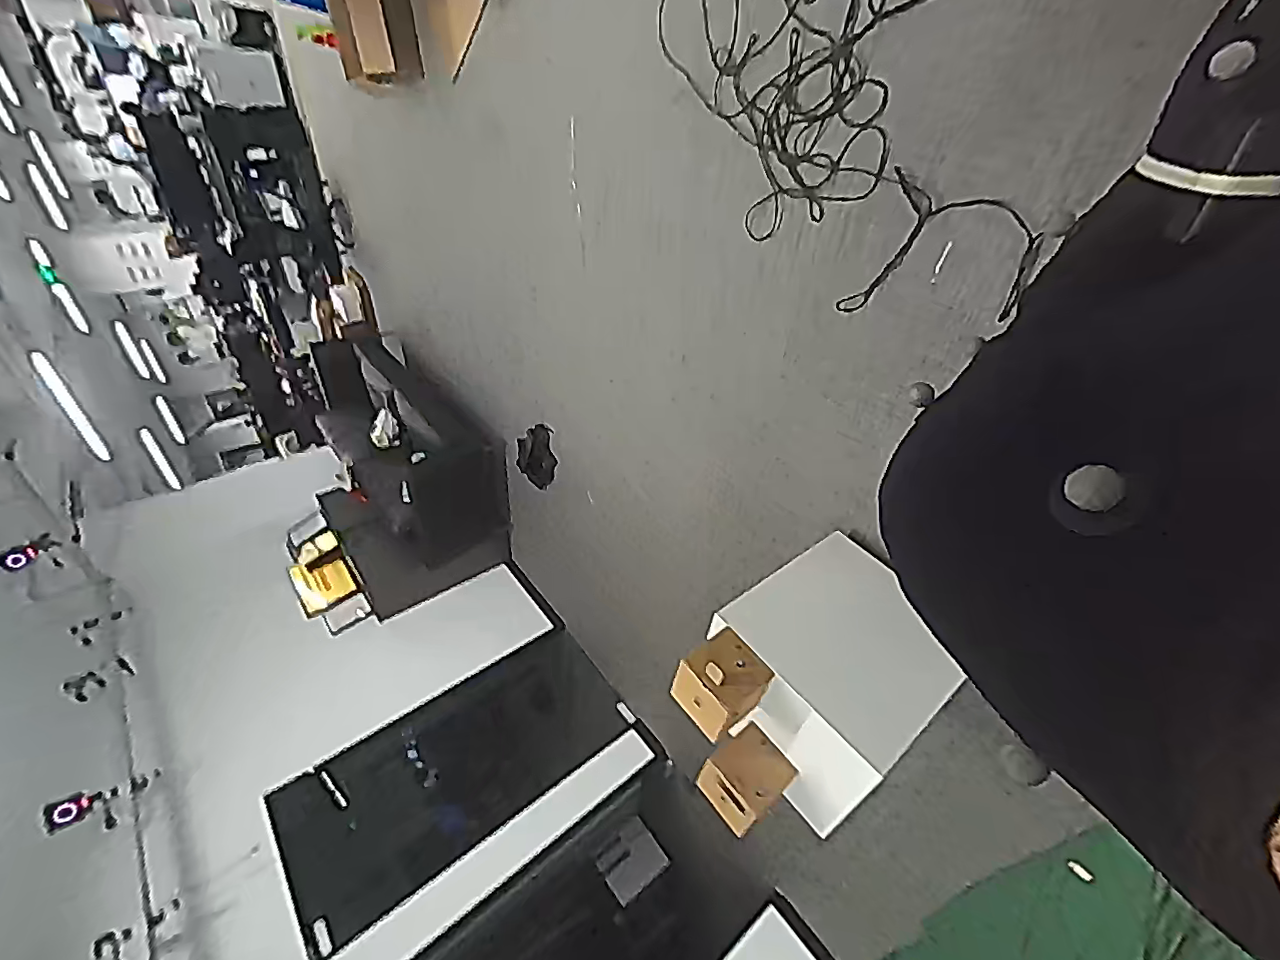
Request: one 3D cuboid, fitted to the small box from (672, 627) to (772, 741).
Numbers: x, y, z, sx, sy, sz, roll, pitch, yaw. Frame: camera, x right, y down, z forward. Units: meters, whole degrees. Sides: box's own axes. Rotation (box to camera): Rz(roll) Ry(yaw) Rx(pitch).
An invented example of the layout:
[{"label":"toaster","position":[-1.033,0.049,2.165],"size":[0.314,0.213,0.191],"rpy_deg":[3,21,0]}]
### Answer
[{"label":"small box","position":[0.205,0.507,1.357],"size":[0.168,0.176,0.179],"rpy_deg":[43,141,33]}]
